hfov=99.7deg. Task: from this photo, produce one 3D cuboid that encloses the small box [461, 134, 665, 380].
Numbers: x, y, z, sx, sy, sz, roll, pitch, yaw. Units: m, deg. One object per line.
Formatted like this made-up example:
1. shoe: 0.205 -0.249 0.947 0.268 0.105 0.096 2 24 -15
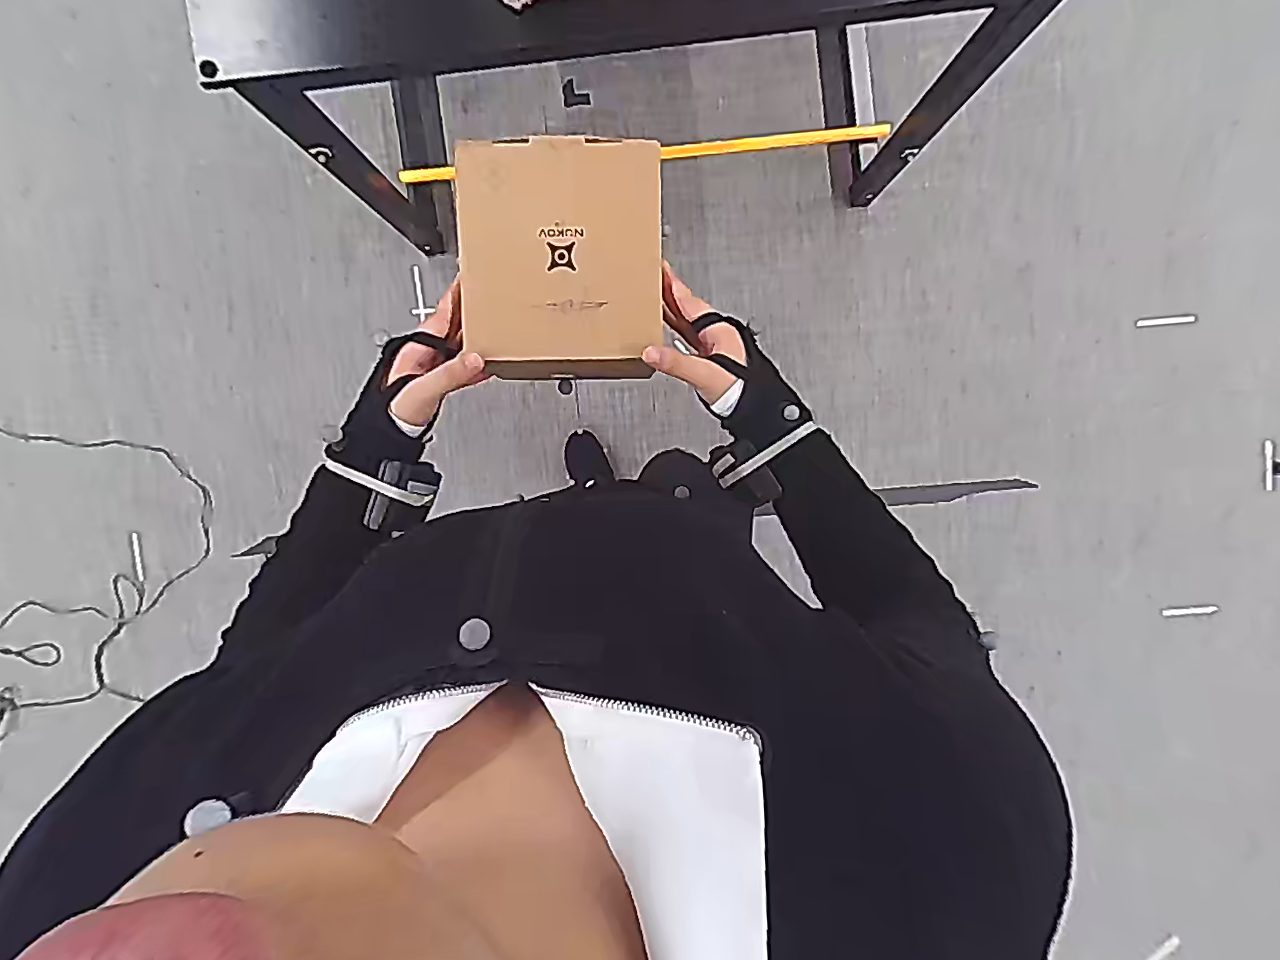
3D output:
1. small box: -0.065 -0.193 0.517 0.168 0.176 0.179 -1 95 -2
